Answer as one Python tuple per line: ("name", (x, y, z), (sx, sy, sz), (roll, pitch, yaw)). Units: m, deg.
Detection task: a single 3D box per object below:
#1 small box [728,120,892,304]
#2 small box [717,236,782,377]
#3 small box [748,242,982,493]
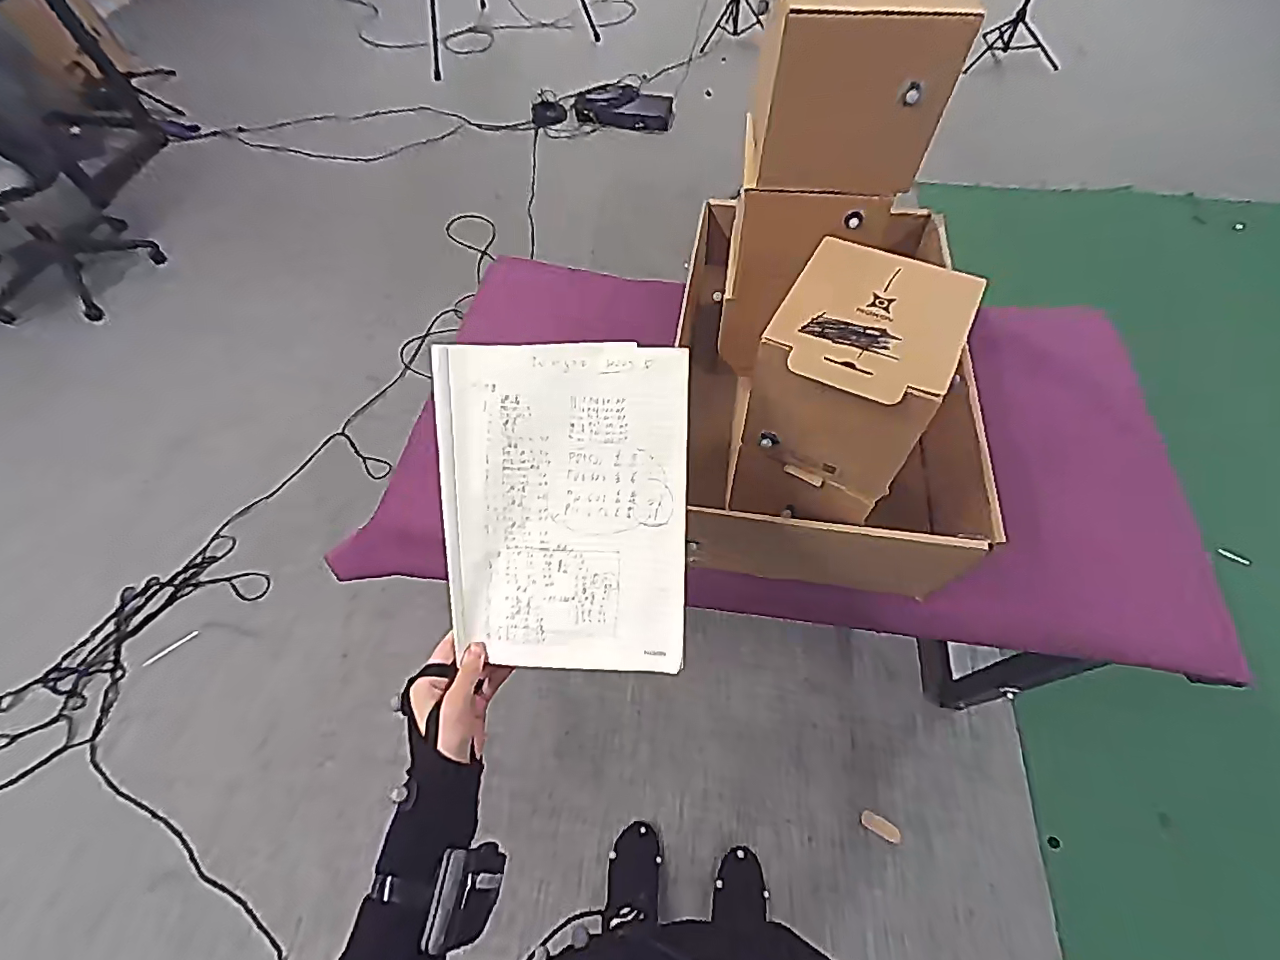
("small box", (0.215, -0.354, 0.732), (0.179, 0.176, 0.168), (5, 61, 5))
("small box", (0.217, -0.276, 0.874), (0.168, 0.176, 0.179), (7, 61, 7))
("small box", (0.225, -0.115, 0.580), (0.168, 0.176, 0.179), (25, 61, 18))
